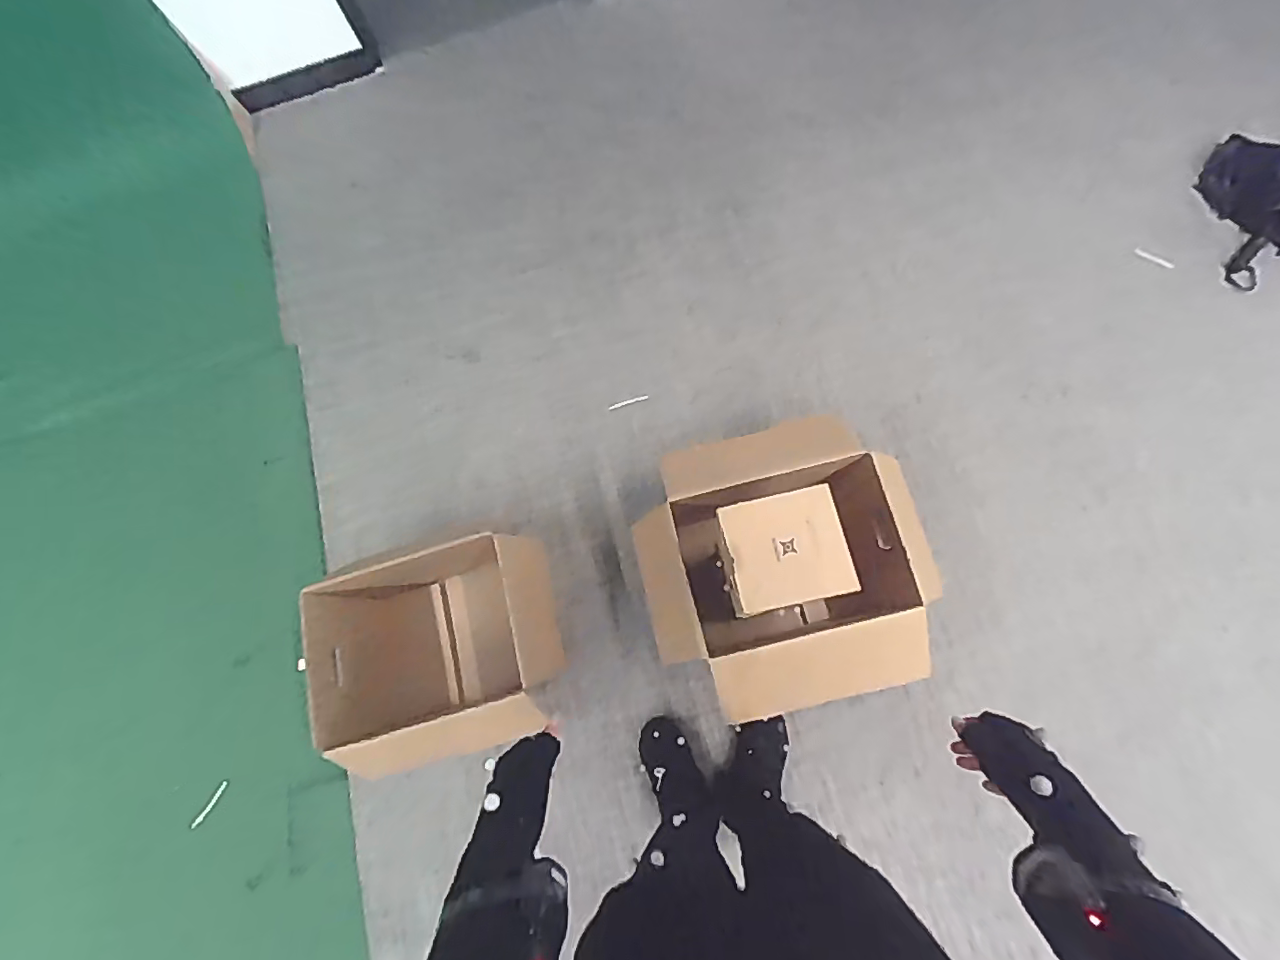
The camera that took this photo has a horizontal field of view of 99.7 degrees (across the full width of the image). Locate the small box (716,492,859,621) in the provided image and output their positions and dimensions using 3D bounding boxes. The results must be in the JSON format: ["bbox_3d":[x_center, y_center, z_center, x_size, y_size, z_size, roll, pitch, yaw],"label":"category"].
[{"bbox_3d":[0.230,0.133,0.890,0.179,0.176,0.168,-15,75,3],"label":"small box"}]
